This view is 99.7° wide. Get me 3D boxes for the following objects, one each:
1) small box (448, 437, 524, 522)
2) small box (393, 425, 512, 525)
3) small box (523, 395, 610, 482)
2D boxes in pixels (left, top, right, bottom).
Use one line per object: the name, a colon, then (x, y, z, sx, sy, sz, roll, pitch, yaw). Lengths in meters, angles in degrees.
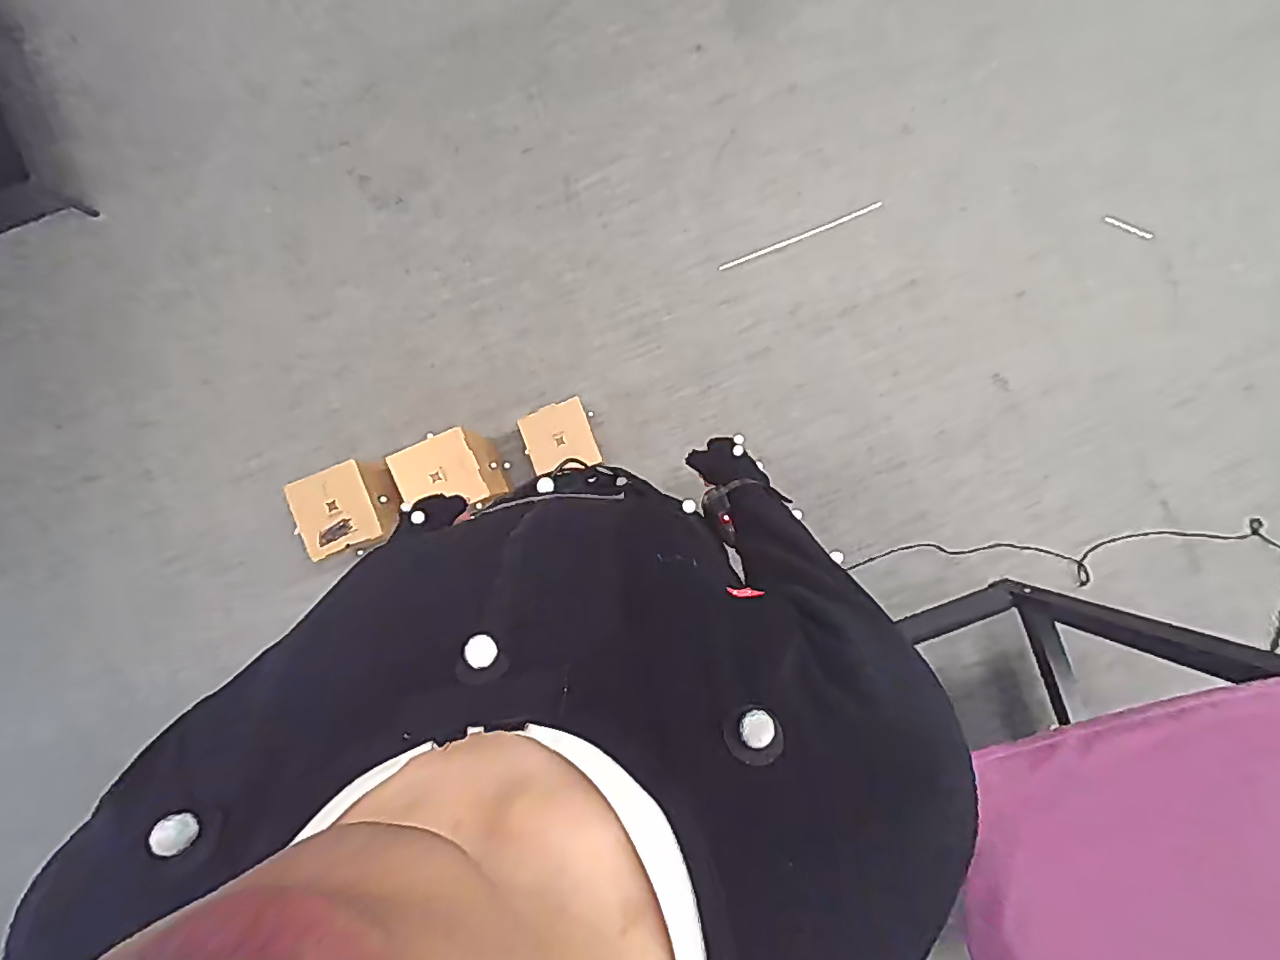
small box: (-0.421, -0.003, 1.395, 0.168, 0.176, 0.179, -23, 90, 1)
small box: (-0.418, -0.009, 1.232, 0.179, 0.176, 0.168, -24, 91, -1)
small box: (-0.184, -0.101, 1.398, 0.168, 0.176, 0.179, -20, 91, 0)
